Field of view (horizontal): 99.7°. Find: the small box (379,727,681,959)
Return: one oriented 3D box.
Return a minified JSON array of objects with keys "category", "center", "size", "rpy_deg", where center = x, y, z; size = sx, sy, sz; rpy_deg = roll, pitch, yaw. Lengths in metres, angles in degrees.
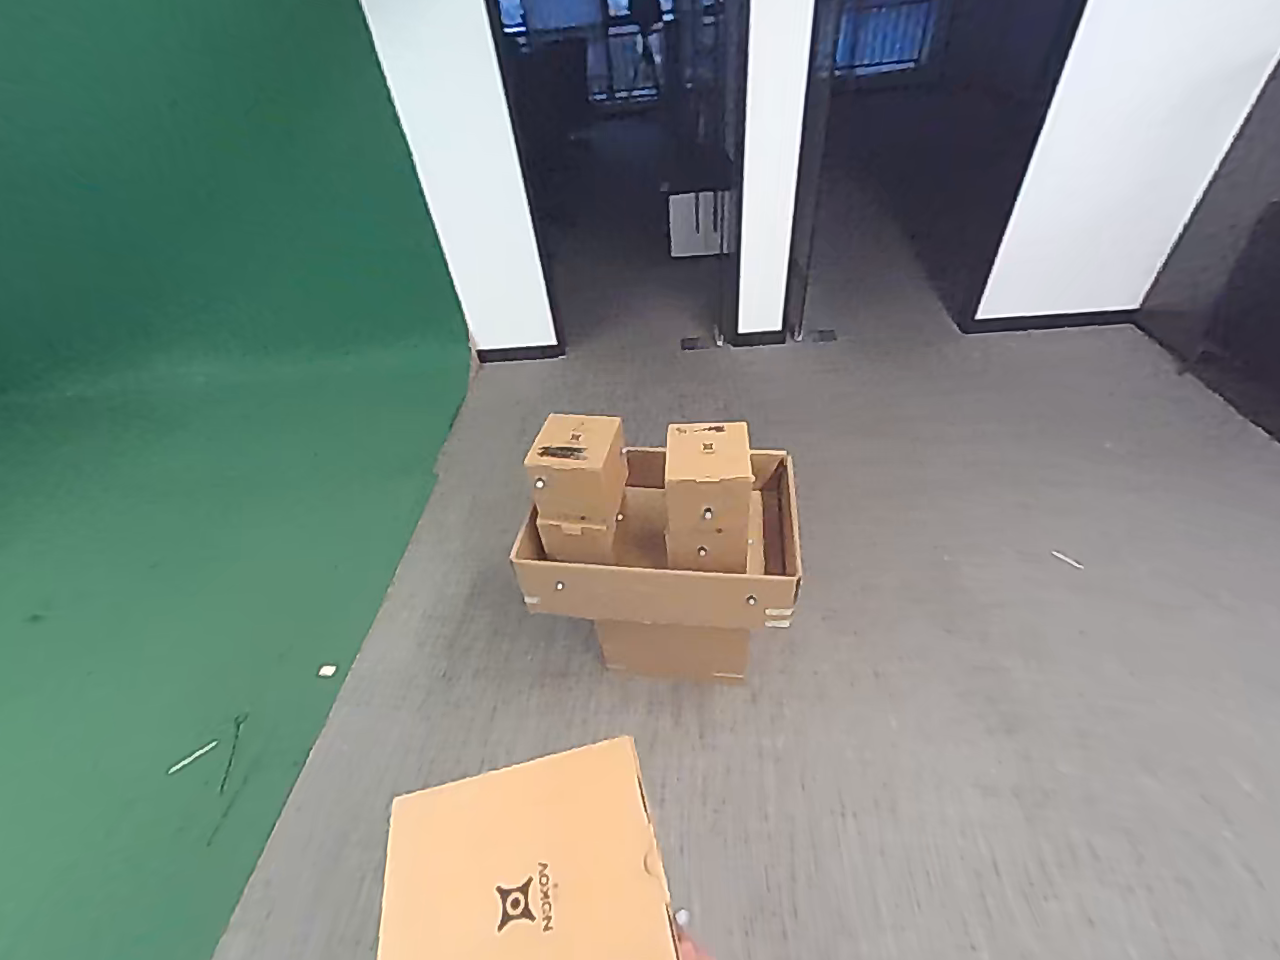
[{"category":"small box","center":[-0.068,0.314,0.393],"size":[0.179,0.176,0.168],"rpy_deg":[-11,43,-7]}]

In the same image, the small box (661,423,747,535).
[{"category":"small box","center":[0.136,0.001,1.130],"size":[0.168,0.176,0.179],"rpy_deg":[0,44,7]}]
